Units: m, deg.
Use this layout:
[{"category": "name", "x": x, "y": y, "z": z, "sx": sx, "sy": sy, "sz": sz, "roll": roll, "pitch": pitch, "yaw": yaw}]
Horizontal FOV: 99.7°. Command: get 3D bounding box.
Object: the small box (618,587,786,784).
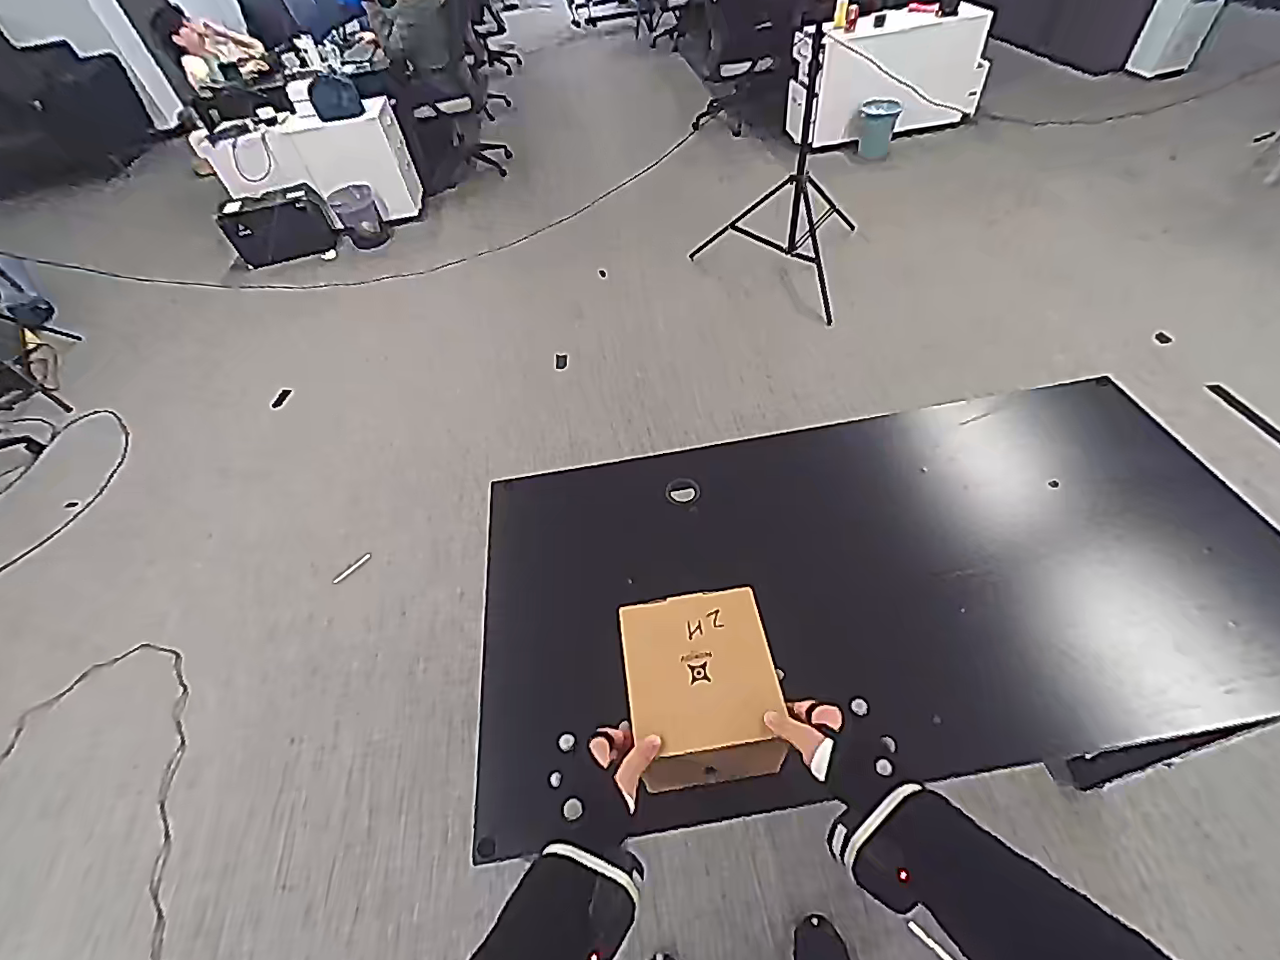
[{"category": "small box", "x": 0.072, "y": 0.260, "z": 0.669, "sx": 0.168, "sy": 0.176, "sz": 0.179, "roll": -10, "pitch": 49, "yaw": 0}]
